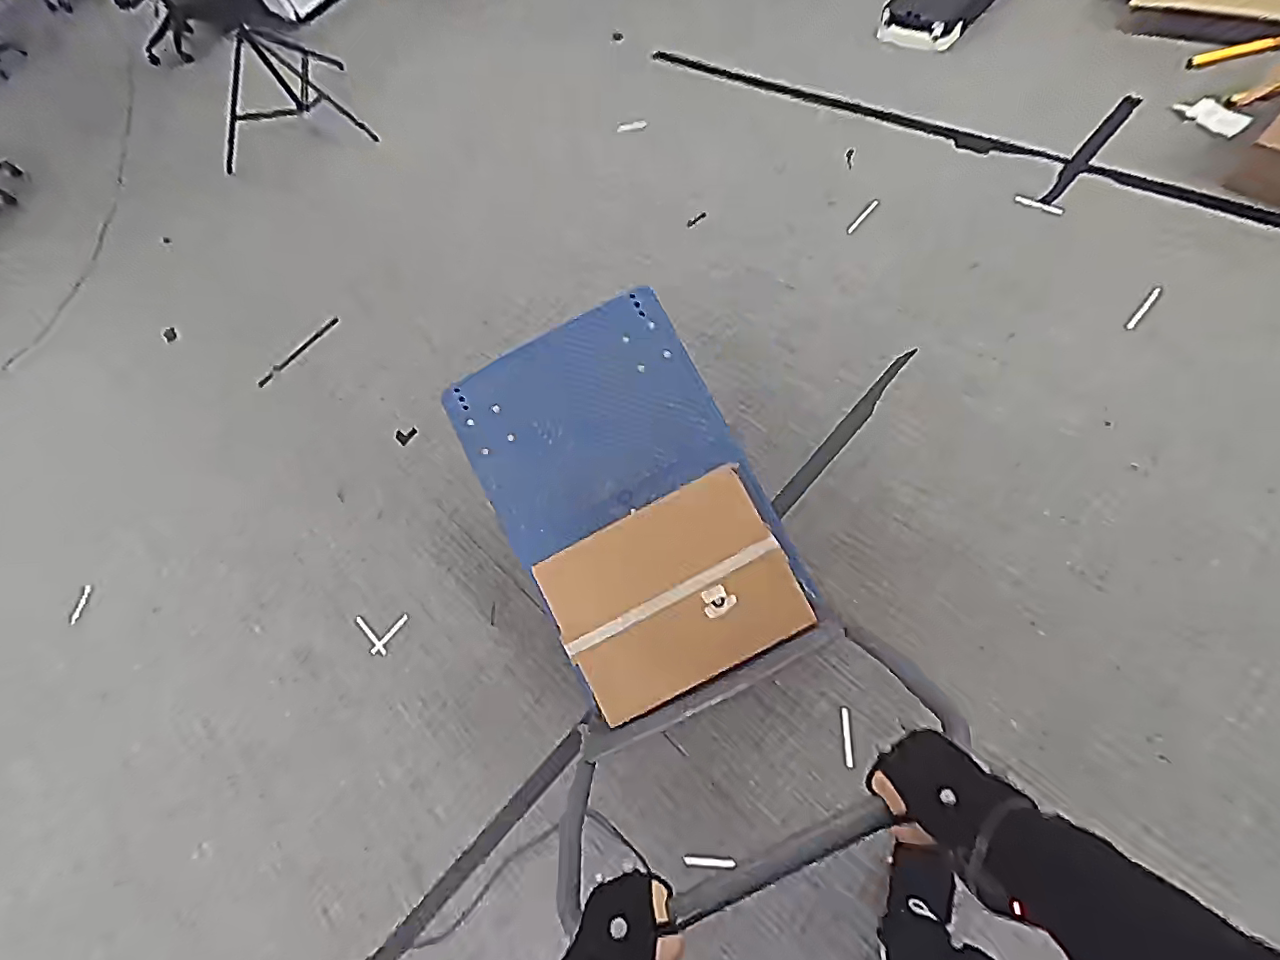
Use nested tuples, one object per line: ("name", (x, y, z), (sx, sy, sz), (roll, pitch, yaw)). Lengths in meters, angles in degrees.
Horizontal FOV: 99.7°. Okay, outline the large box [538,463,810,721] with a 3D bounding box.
("large box", (0.063, 0.211, 1.109), (0.408, 0.320, 0.320), (-29, 85, 0))
